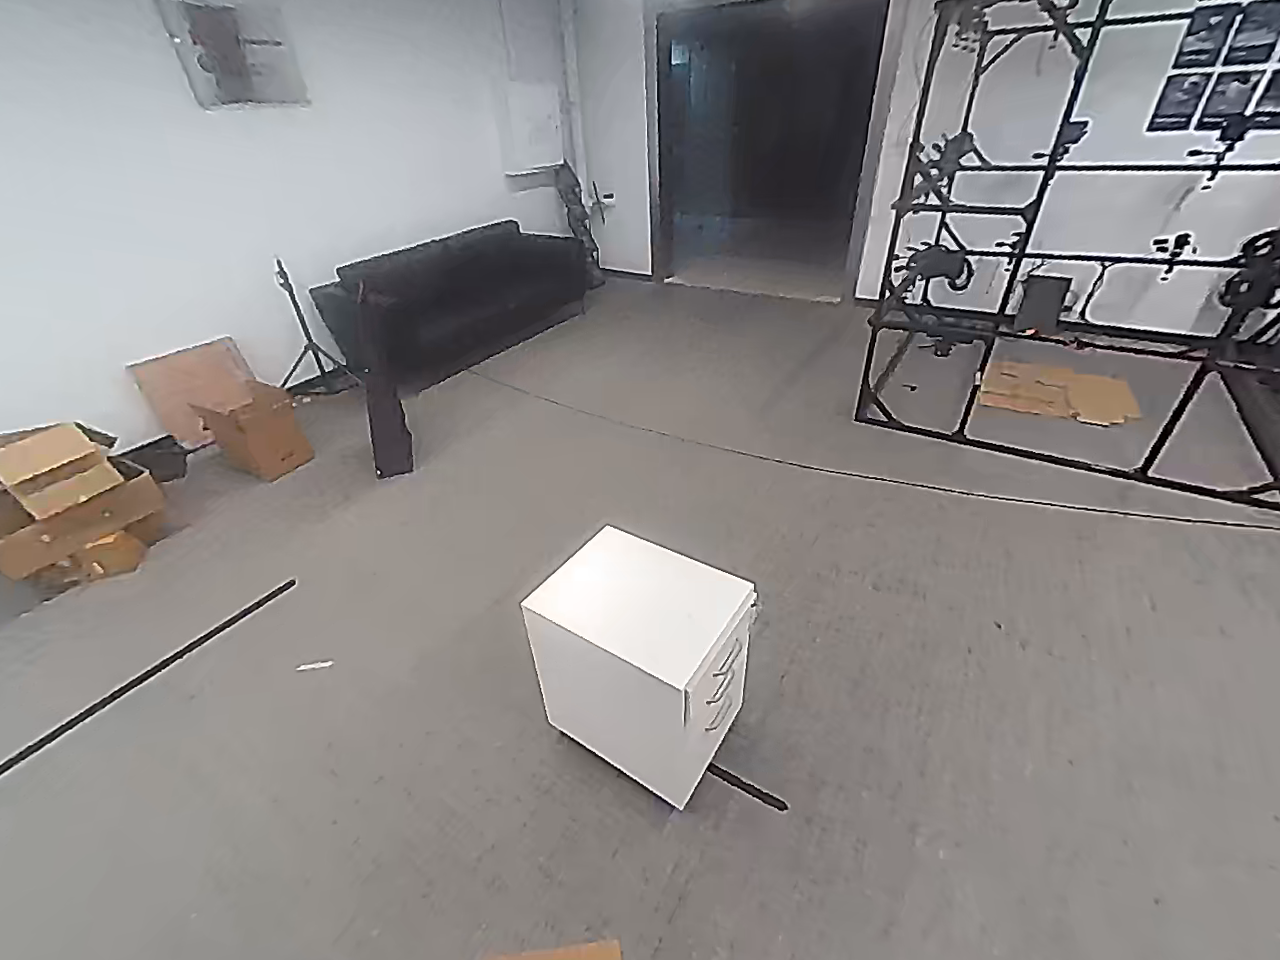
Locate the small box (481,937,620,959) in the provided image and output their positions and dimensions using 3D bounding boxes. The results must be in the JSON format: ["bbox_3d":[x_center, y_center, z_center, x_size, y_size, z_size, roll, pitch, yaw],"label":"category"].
[{"bbox_3d":[-0.100,0.667,0.627,0.168,0.176,0.179,-4,42,-5],"label":"small box"}]
